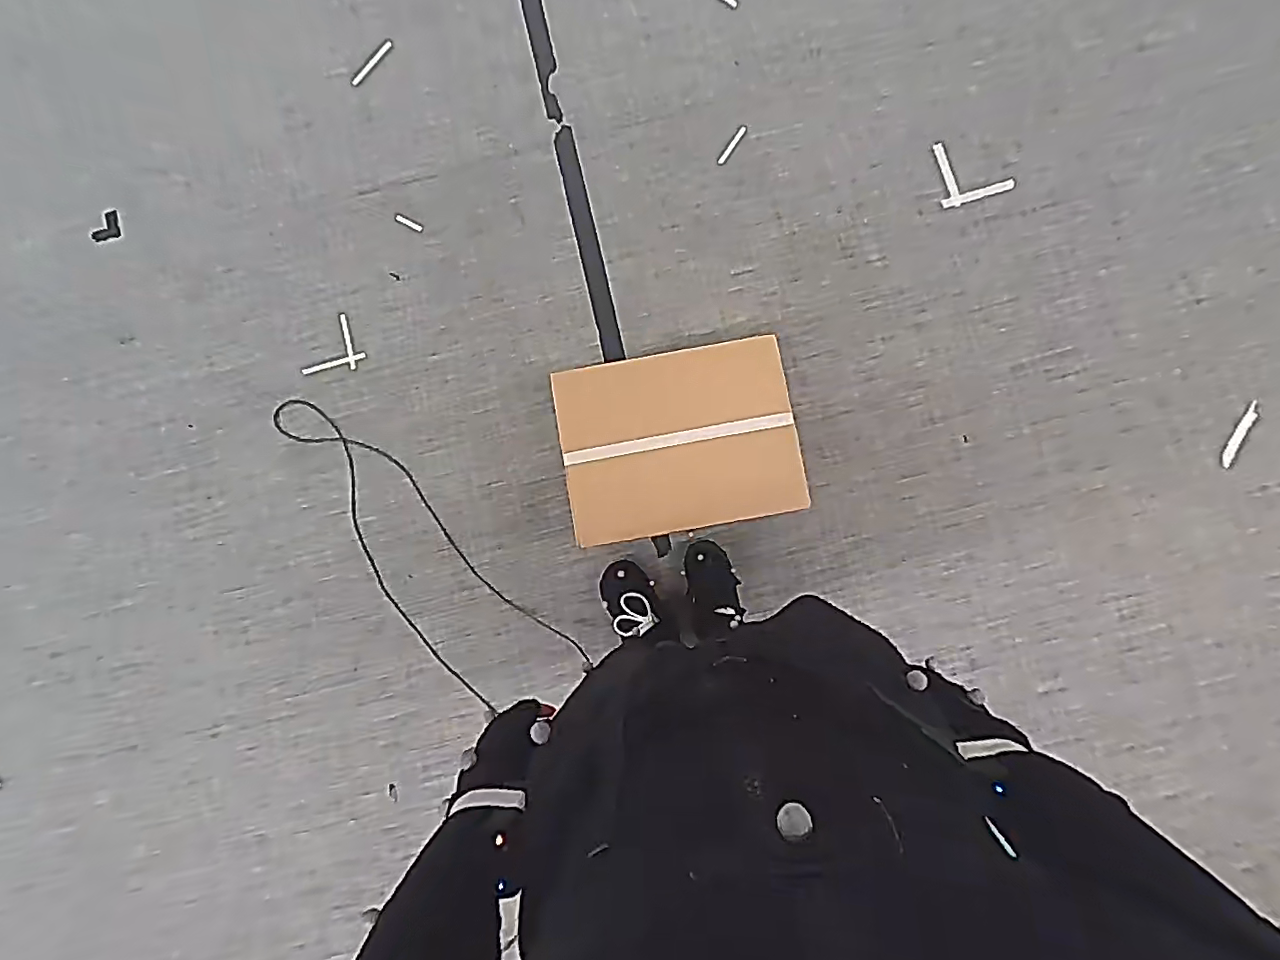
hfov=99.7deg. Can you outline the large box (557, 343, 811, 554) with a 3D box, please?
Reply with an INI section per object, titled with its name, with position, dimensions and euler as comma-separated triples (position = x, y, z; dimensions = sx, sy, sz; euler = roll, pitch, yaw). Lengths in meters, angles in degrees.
[large box]
position = 0.077, -0.042, 1.089
dimensions = 0.408, 0.320, 0.320
euler = -10, 85, 1
